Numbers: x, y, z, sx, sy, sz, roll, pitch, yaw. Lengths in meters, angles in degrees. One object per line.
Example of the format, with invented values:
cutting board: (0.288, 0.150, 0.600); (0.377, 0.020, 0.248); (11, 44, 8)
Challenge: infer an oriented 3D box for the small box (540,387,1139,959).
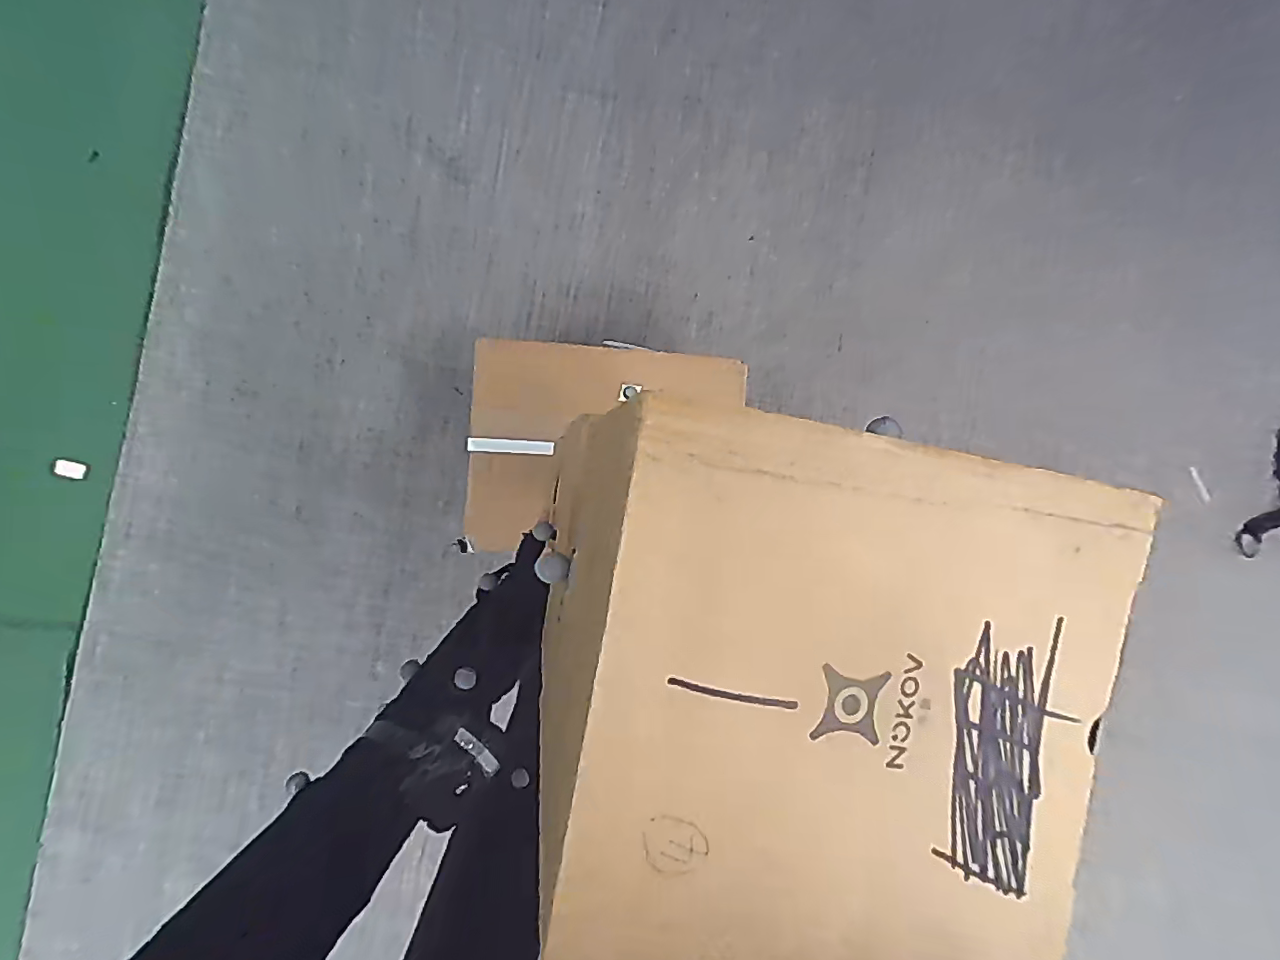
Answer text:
small box: (0.057, 0.063, 0.249); (0.179, 0.176, 0.168); (11, 90, -9)

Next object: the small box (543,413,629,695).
small box: (0.021, 0.052, 0.410); (0.168, 0.176, 0.179); (7, 92, -10)

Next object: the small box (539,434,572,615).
small box: (-0.010, 0.048, 0.571); (0.179, 0.176, 0.168); (8, 92, -12)
